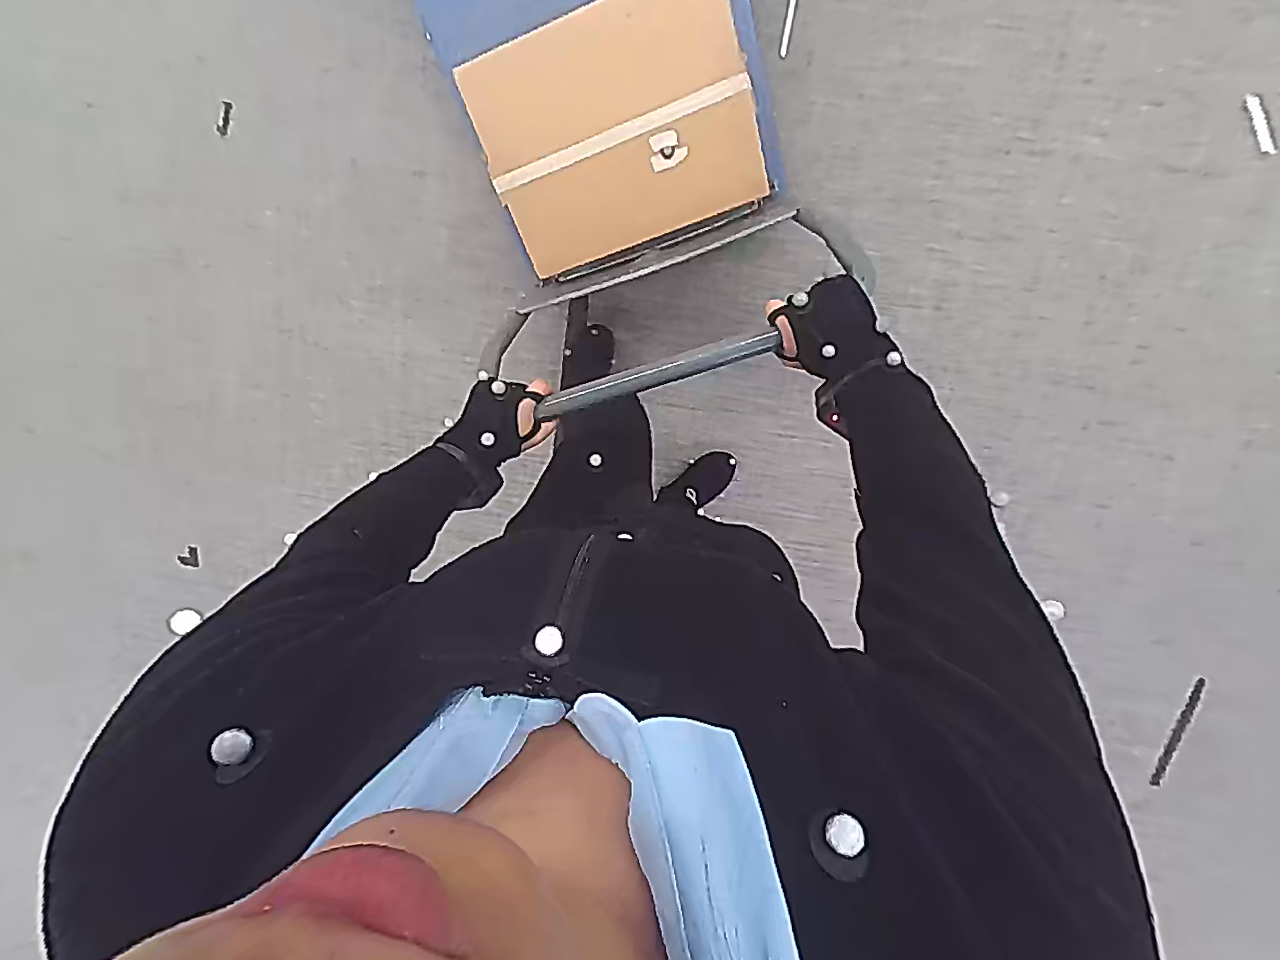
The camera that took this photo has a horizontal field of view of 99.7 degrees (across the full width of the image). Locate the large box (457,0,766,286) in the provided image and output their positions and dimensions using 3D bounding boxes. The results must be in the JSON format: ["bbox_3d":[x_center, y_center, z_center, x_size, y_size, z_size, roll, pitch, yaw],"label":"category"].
[{"bbox_3d":[-0.033,-0.586,0.954,0.408,0.320,0.320,-17,119,11],"label":"large box"}]
